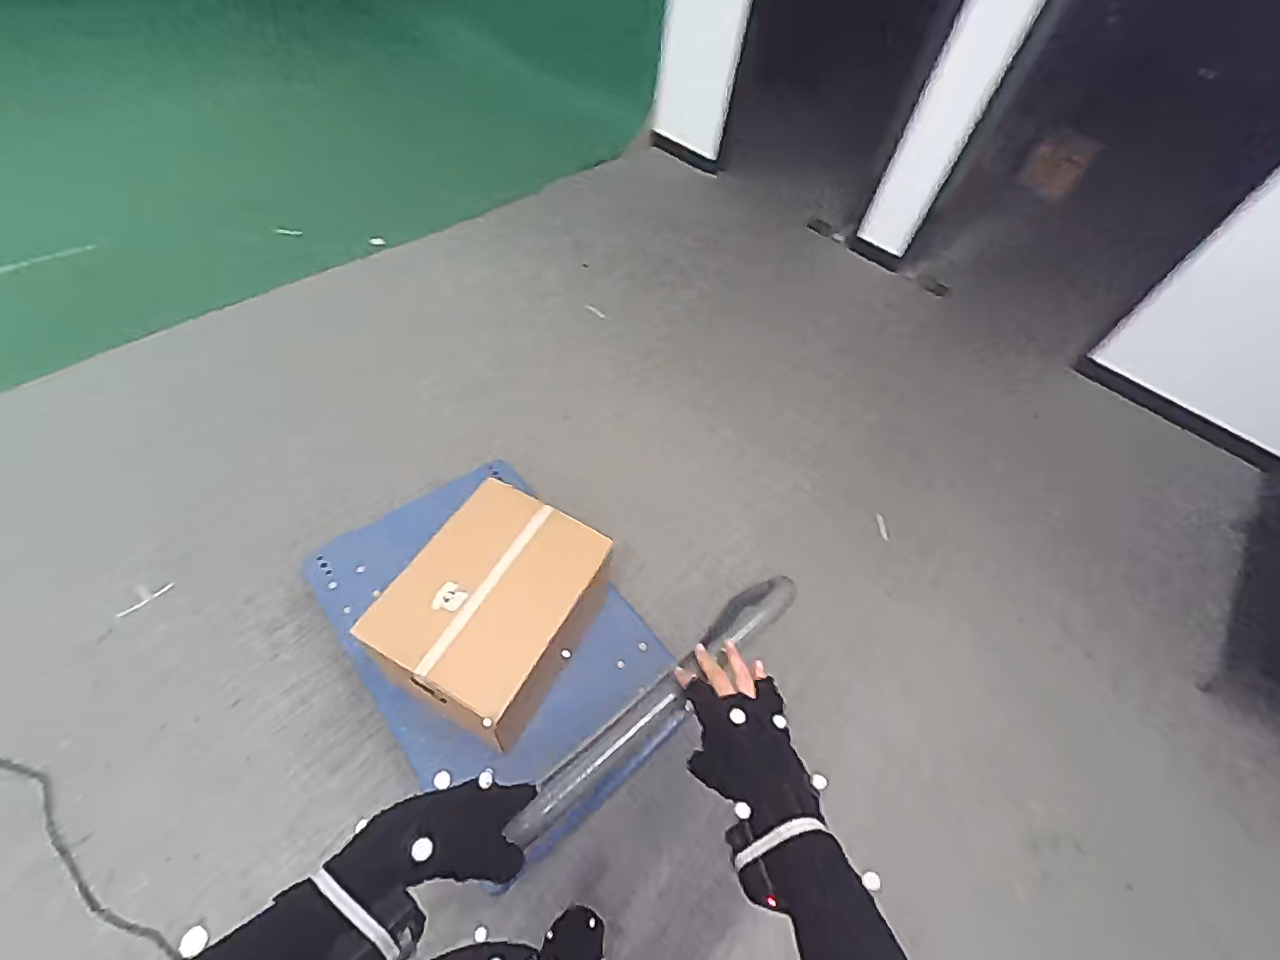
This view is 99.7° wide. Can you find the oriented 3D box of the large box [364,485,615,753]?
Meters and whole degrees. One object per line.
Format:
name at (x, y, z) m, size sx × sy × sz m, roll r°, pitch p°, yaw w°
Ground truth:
large box at (-0.289, 0.295, 1.161) m, size 0.320 × 0.320 × 0.408 m, roll 26°, pitch 55°, yaw 11°
